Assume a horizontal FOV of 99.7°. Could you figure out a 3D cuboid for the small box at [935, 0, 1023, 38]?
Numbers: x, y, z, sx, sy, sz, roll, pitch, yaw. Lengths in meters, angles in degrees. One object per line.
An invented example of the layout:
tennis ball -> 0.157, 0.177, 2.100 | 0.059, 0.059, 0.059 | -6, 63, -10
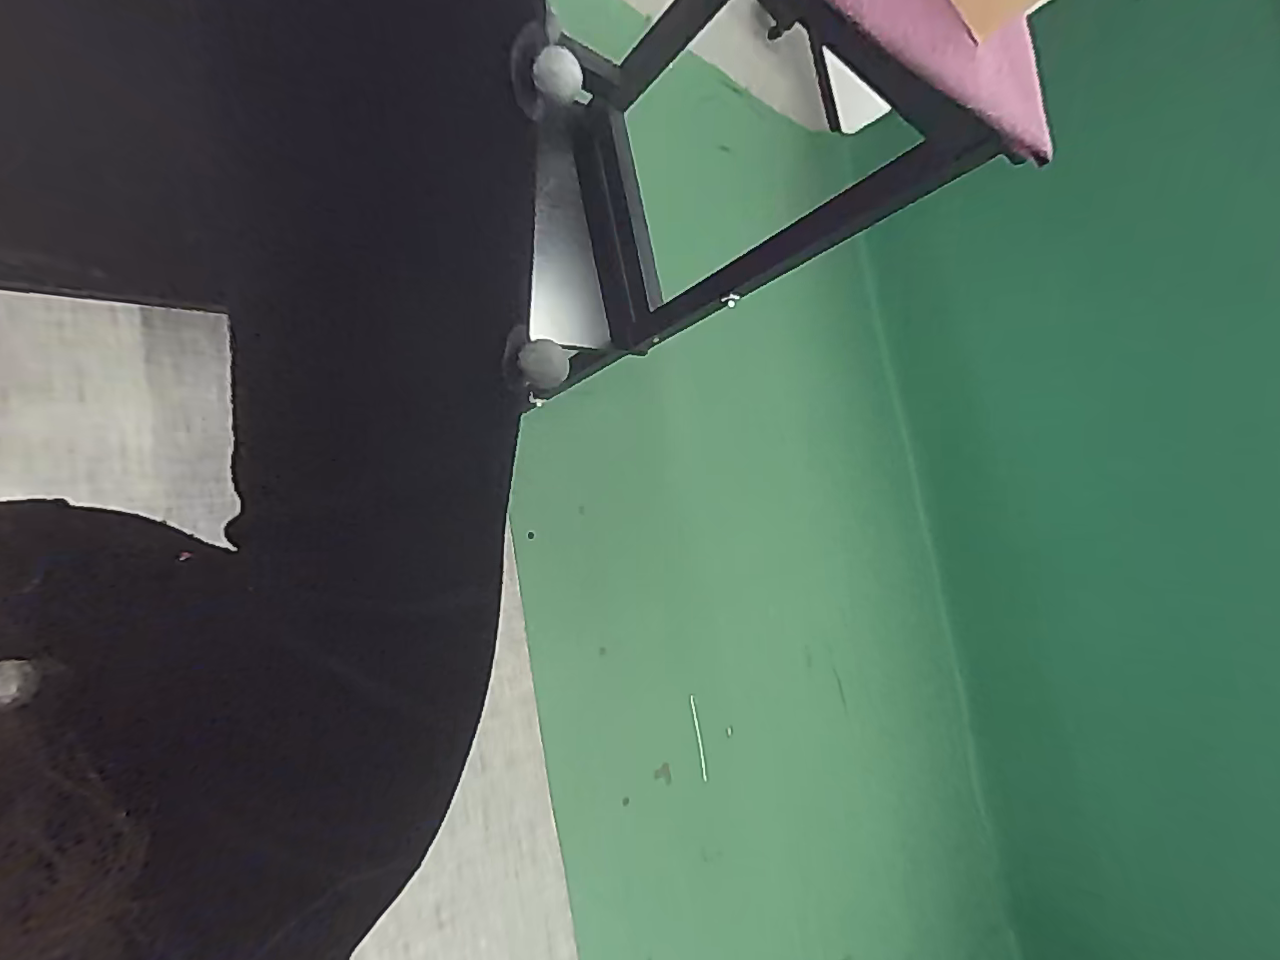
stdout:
small box -> 0.333, -0.565, 0.488 | 0.179, 0.176, 0.168 | 2, 77, -41
